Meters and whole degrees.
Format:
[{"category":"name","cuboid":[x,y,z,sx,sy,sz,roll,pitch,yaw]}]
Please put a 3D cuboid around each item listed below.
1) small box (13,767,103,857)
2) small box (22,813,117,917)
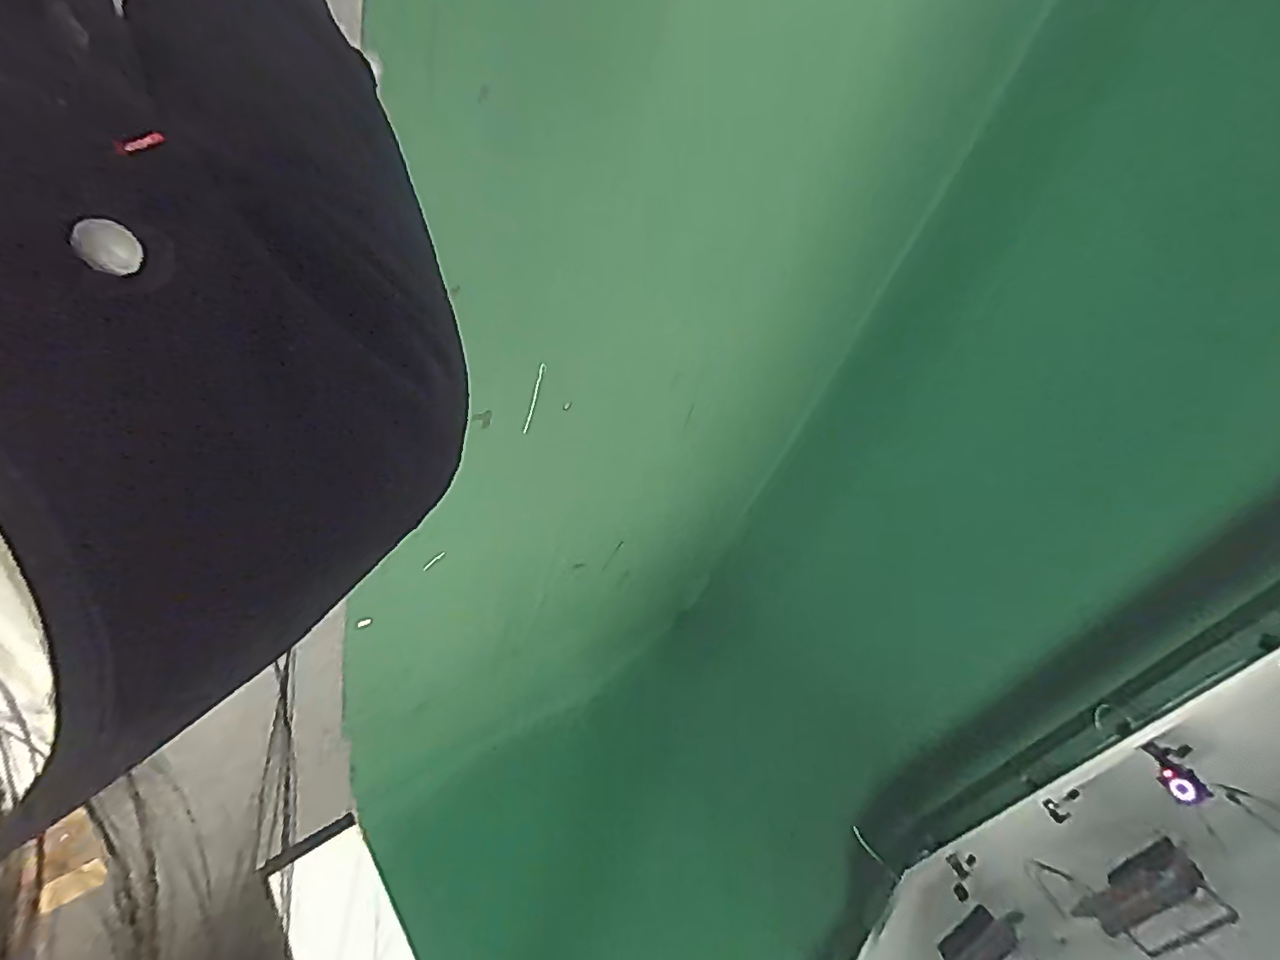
[{"category":"small box","cuboid":[-1.844,1.060,1.715,0.179,0.176,0.168,-14,138,-45]},{"category":"small box","cuboid":[-1.738,1.166,1.649,0.168,0.176,0.179,-17,139,-46]}]
